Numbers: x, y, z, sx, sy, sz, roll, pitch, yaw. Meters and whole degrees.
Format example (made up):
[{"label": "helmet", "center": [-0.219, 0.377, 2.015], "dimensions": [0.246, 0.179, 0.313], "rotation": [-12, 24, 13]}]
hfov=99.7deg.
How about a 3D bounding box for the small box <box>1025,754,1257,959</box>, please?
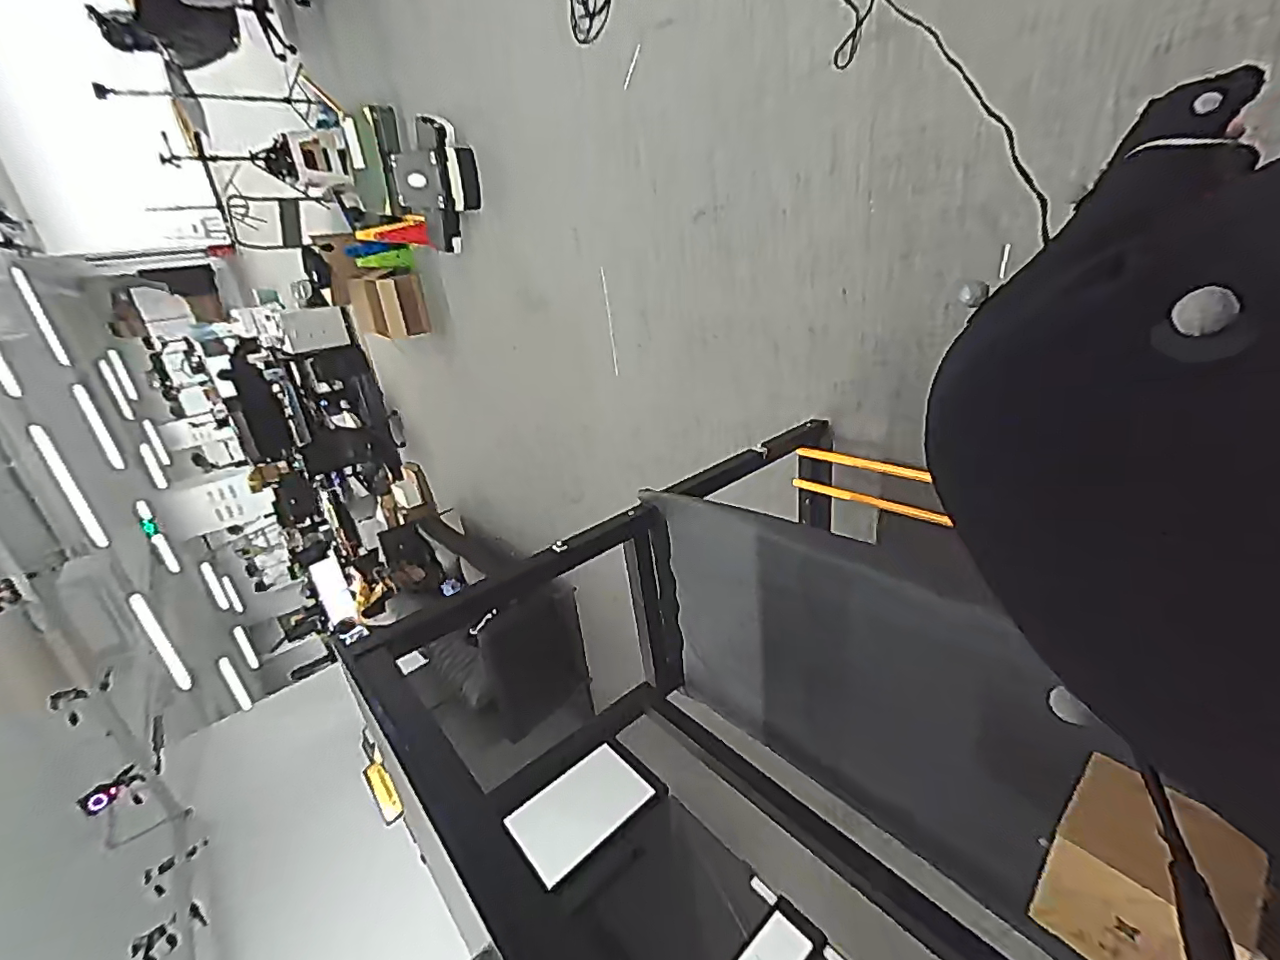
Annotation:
[{"label": "small box", "center": [0.622, 0.491, 0.677], "dimensions": [0.168, 0.176, 0.179], "rotation": [23, 128, 46]}]
